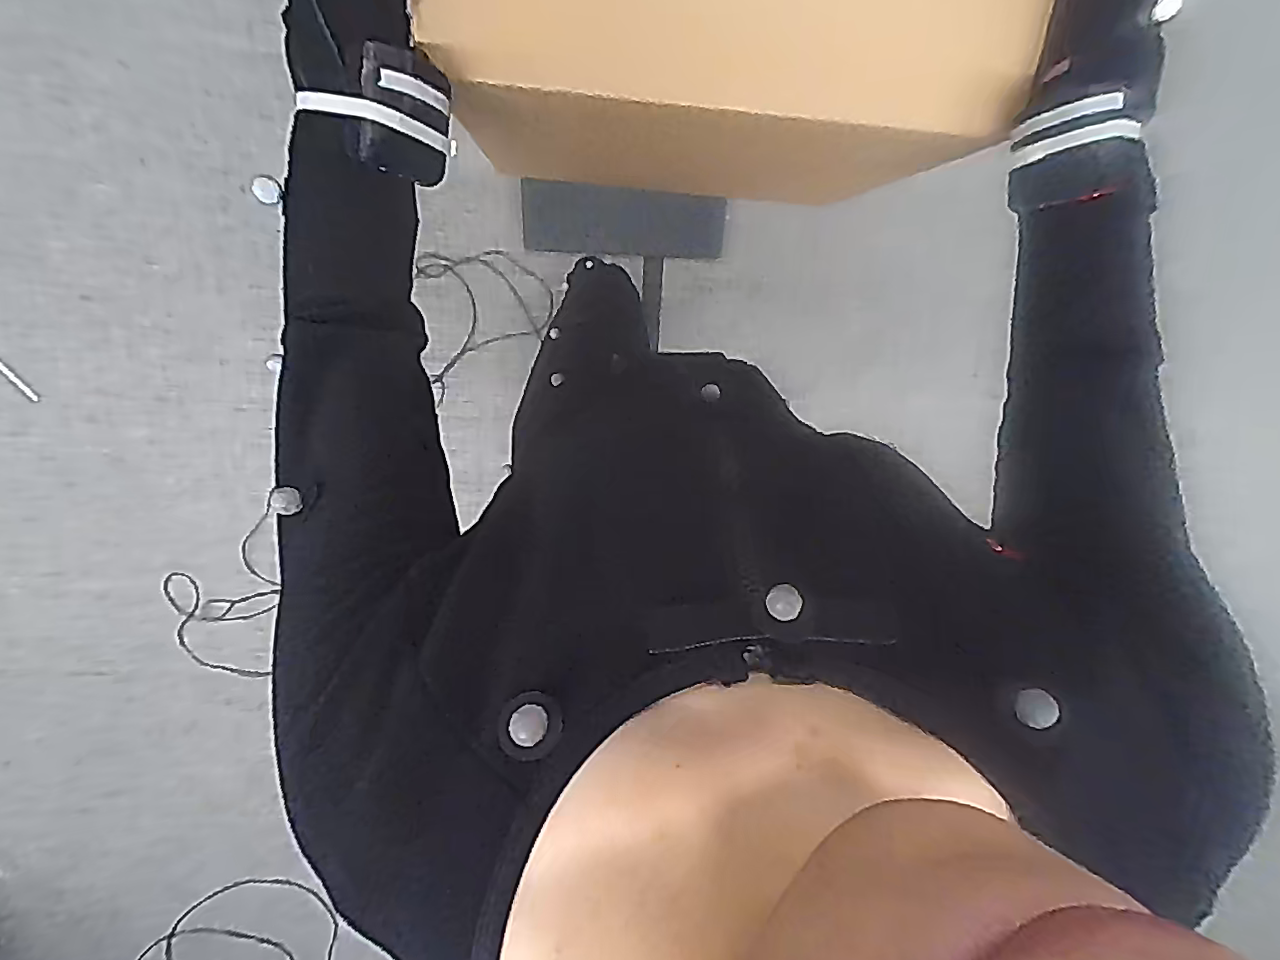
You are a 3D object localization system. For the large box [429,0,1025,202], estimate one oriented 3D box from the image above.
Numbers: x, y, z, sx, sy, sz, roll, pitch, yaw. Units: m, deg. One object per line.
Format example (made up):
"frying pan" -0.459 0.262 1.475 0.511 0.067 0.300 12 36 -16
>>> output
"large box" 0.054 -0.447 0.465 0.408 0.320 0.320 2 109 -7

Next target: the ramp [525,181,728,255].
"ramp" -0.017 -1.025 1.154 0.509 0.206 0.991 -1 104 -3
